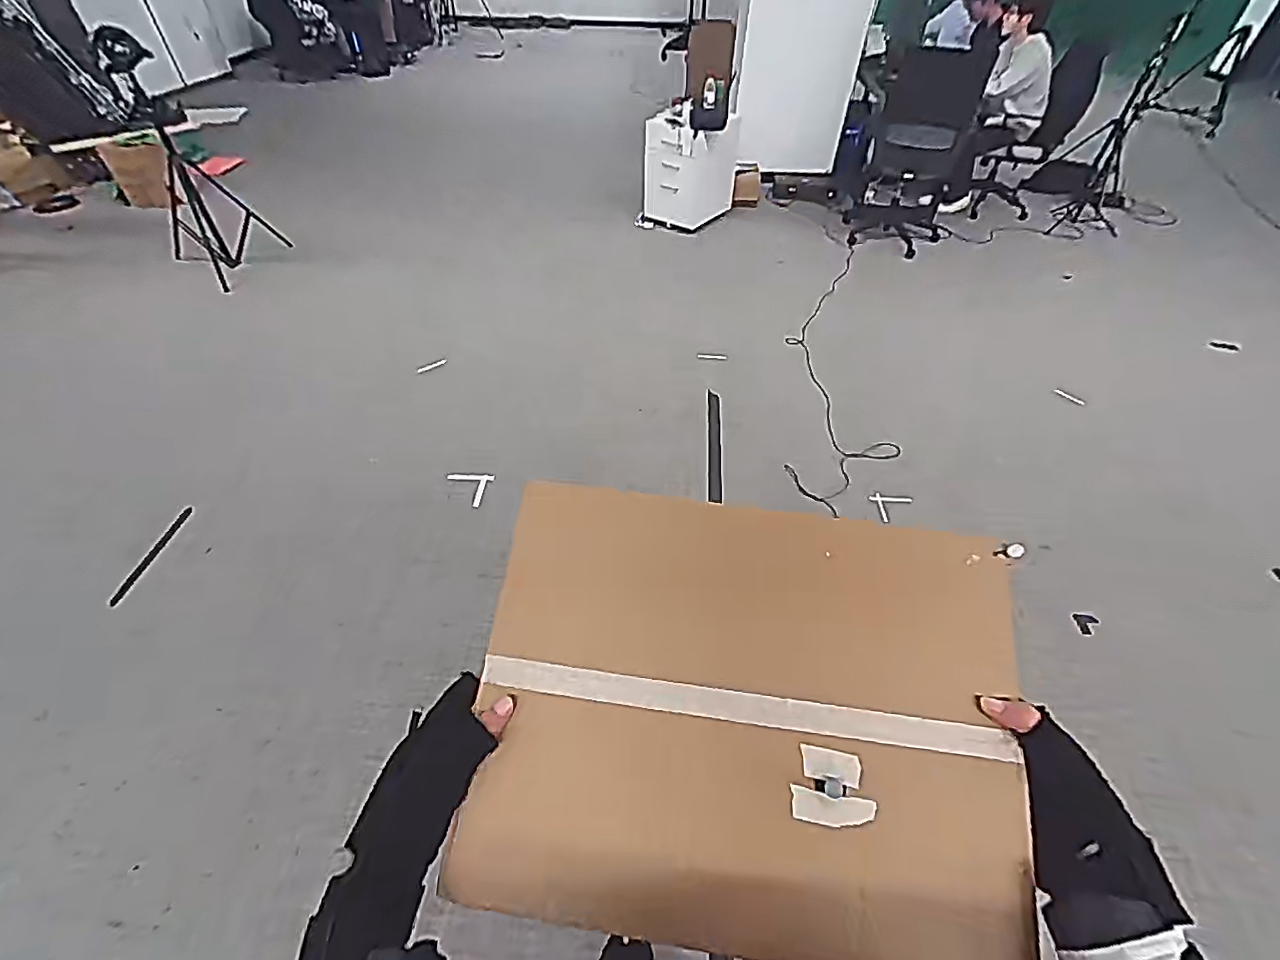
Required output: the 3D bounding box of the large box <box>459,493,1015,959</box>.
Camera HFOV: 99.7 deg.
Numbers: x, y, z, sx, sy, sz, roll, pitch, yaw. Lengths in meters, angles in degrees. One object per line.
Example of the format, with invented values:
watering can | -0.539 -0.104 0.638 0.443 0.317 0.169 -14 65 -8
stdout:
large box | 0.081 0.224 0.571 0.408 0.320 0.320 7 71 4
